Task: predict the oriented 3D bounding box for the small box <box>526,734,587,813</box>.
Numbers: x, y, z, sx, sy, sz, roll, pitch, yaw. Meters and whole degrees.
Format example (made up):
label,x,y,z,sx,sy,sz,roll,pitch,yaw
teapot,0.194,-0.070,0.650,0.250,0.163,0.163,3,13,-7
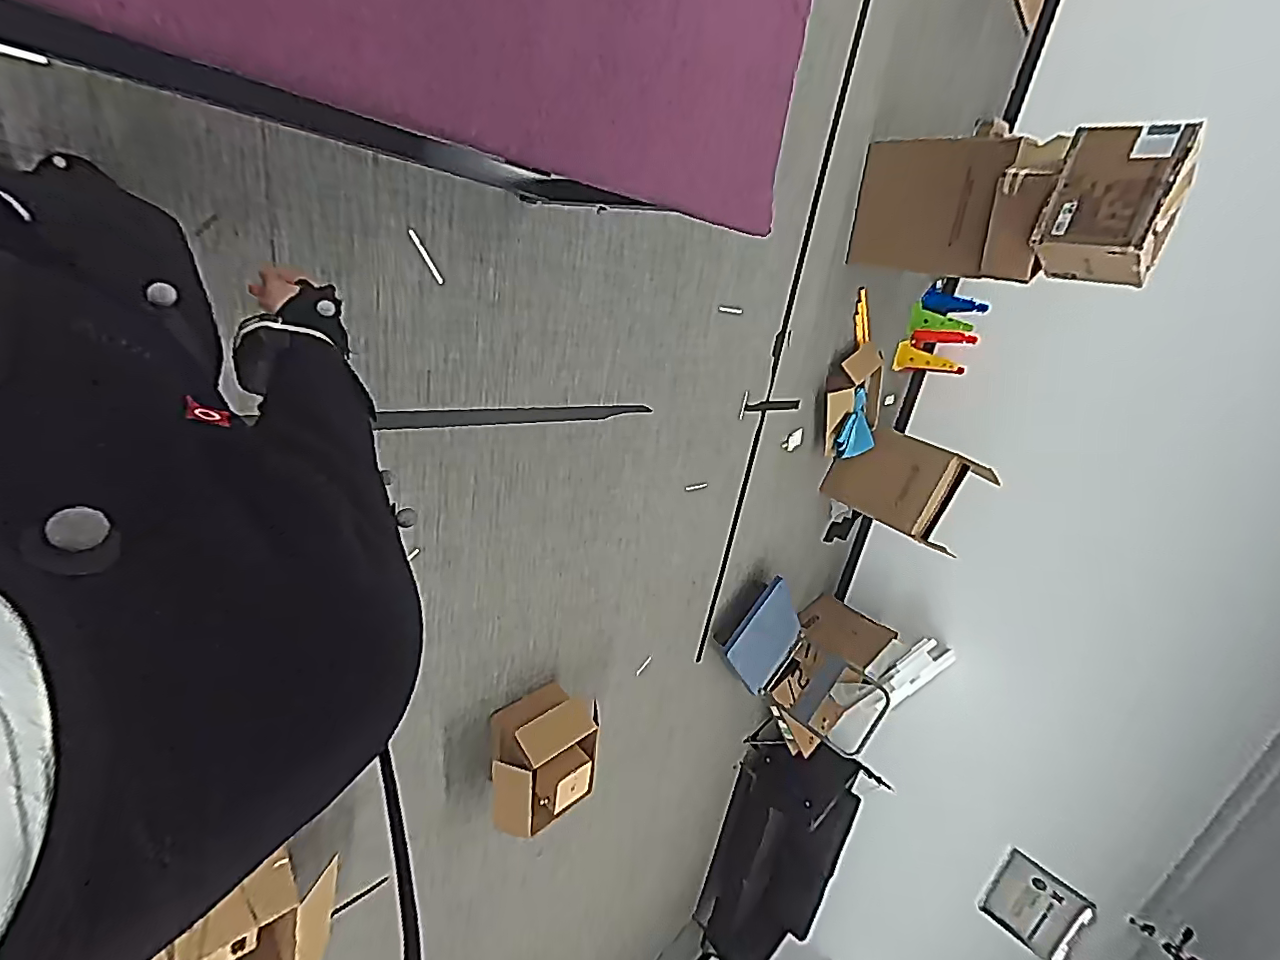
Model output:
label,x,y,z,sx,sy,sz,roll,pitch,yaw
small box,-0.333,1.151,2.131,0.168,0.176,0.179,-13,121,-44
